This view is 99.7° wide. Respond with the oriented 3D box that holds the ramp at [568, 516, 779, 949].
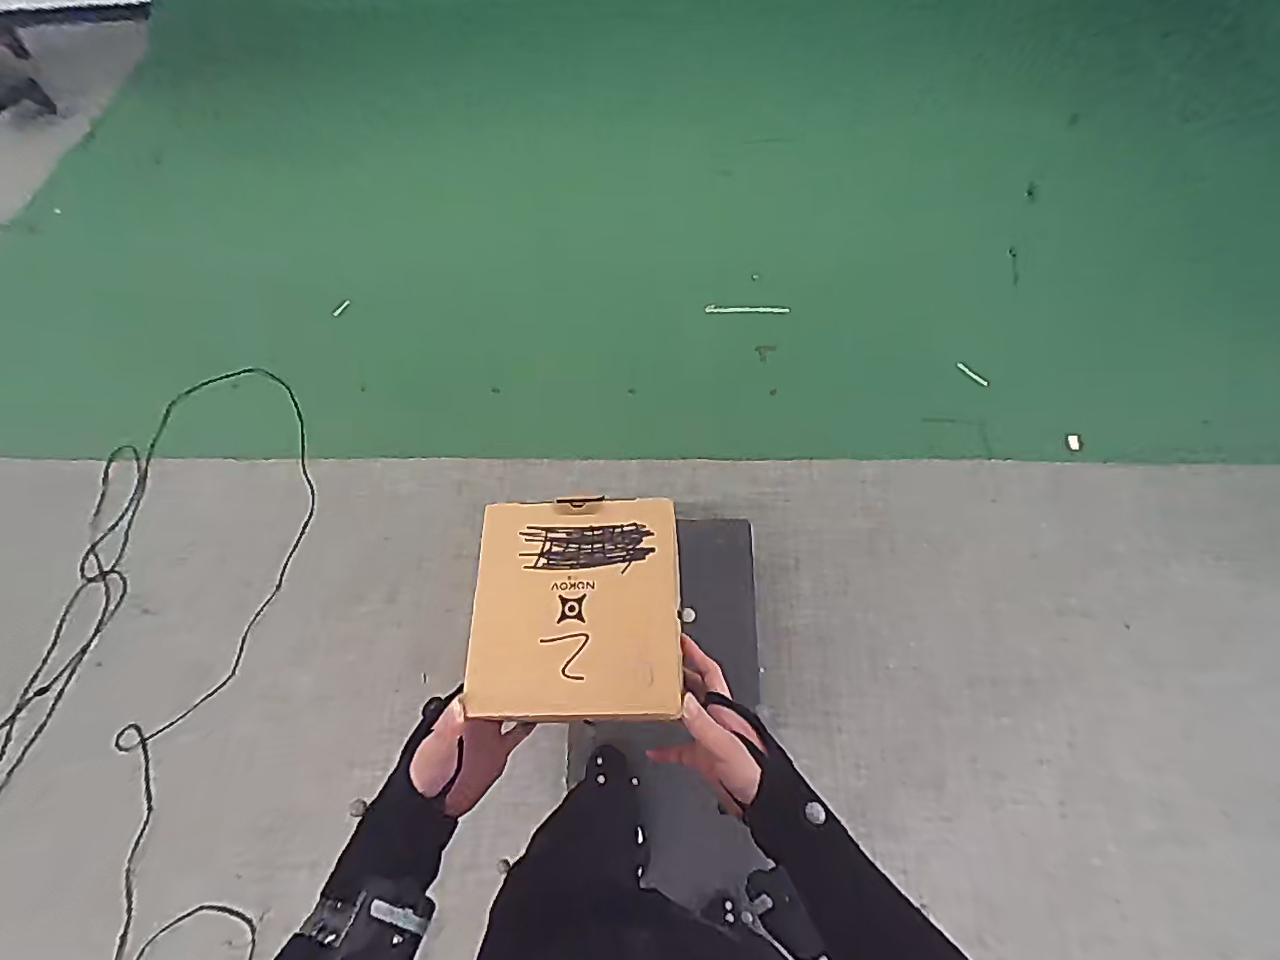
[{"bbox_3d":[0.075,0.583,1.366,0.509,0.206,0.991,-2,64,1],"label":"ramp"}]
